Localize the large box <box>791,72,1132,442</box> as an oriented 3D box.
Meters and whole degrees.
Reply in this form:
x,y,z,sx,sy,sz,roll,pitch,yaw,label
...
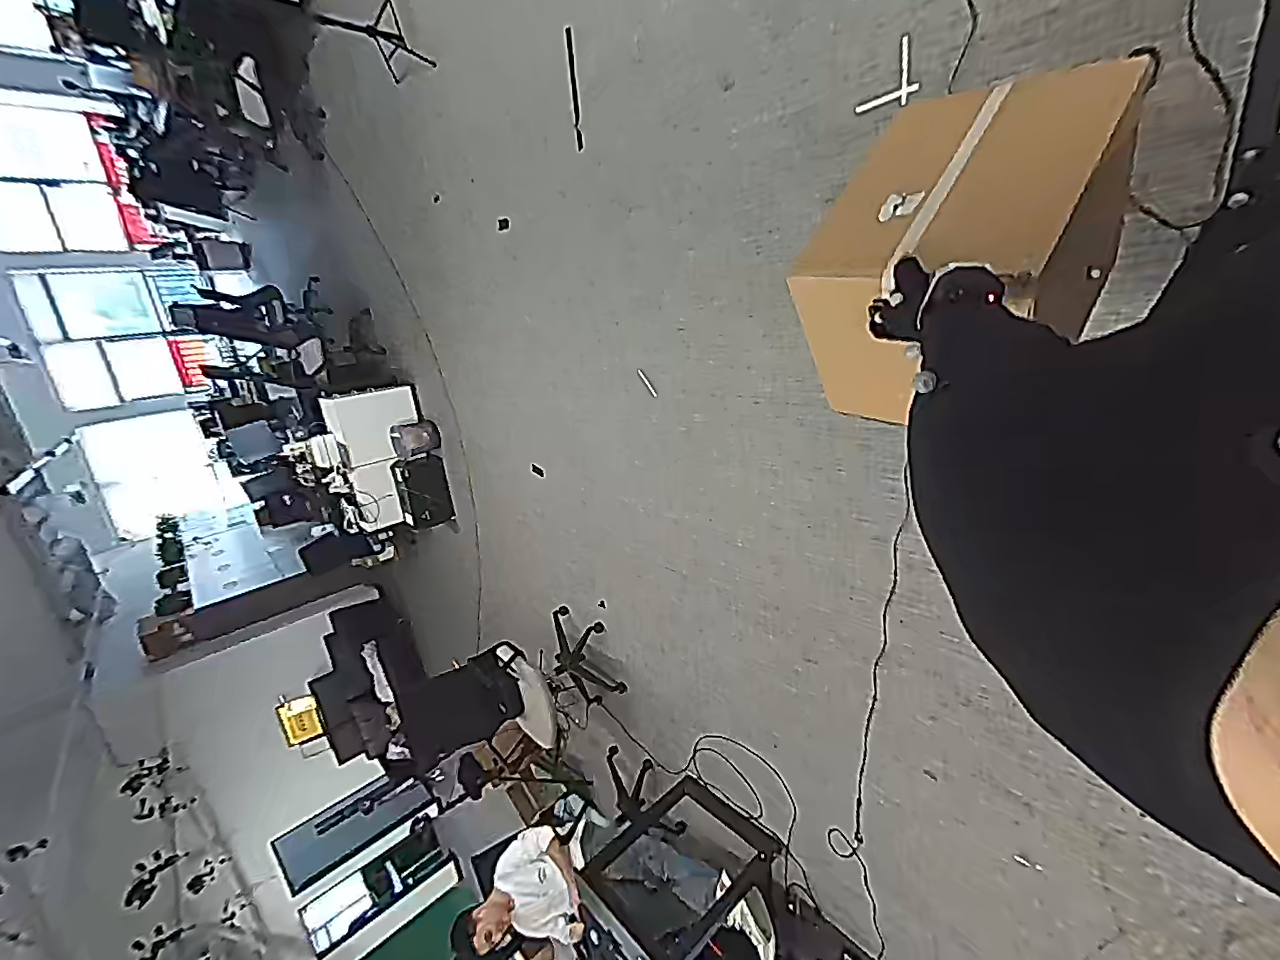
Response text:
x,y,z,sx,sy,sz,roll,pitch,yaw,label
0.501,-0.329,0.853,0.320,0.408,0.320,19,160,43,large box
